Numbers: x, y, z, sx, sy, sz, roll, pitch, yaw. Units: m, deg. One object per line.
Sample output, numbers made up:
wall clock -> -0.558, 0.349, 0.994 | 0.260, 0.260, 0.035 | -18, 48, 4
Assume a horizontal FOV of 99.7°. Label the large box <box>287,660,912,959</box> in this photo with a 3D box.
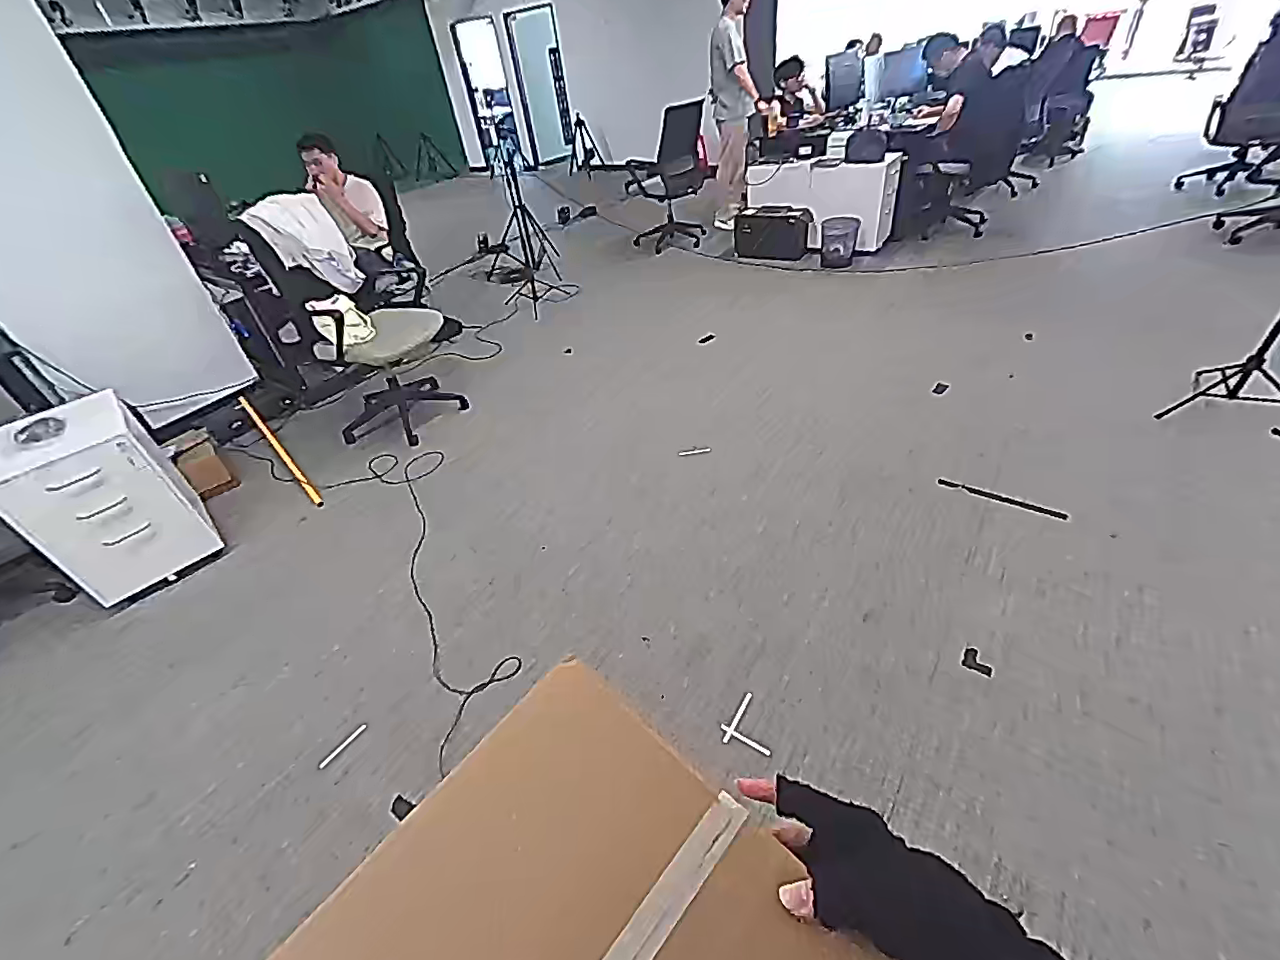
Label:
large box -> -0.061, 0.429, 0.389 | 0.320, 0.320, 0.408 | 34, 61, 26
